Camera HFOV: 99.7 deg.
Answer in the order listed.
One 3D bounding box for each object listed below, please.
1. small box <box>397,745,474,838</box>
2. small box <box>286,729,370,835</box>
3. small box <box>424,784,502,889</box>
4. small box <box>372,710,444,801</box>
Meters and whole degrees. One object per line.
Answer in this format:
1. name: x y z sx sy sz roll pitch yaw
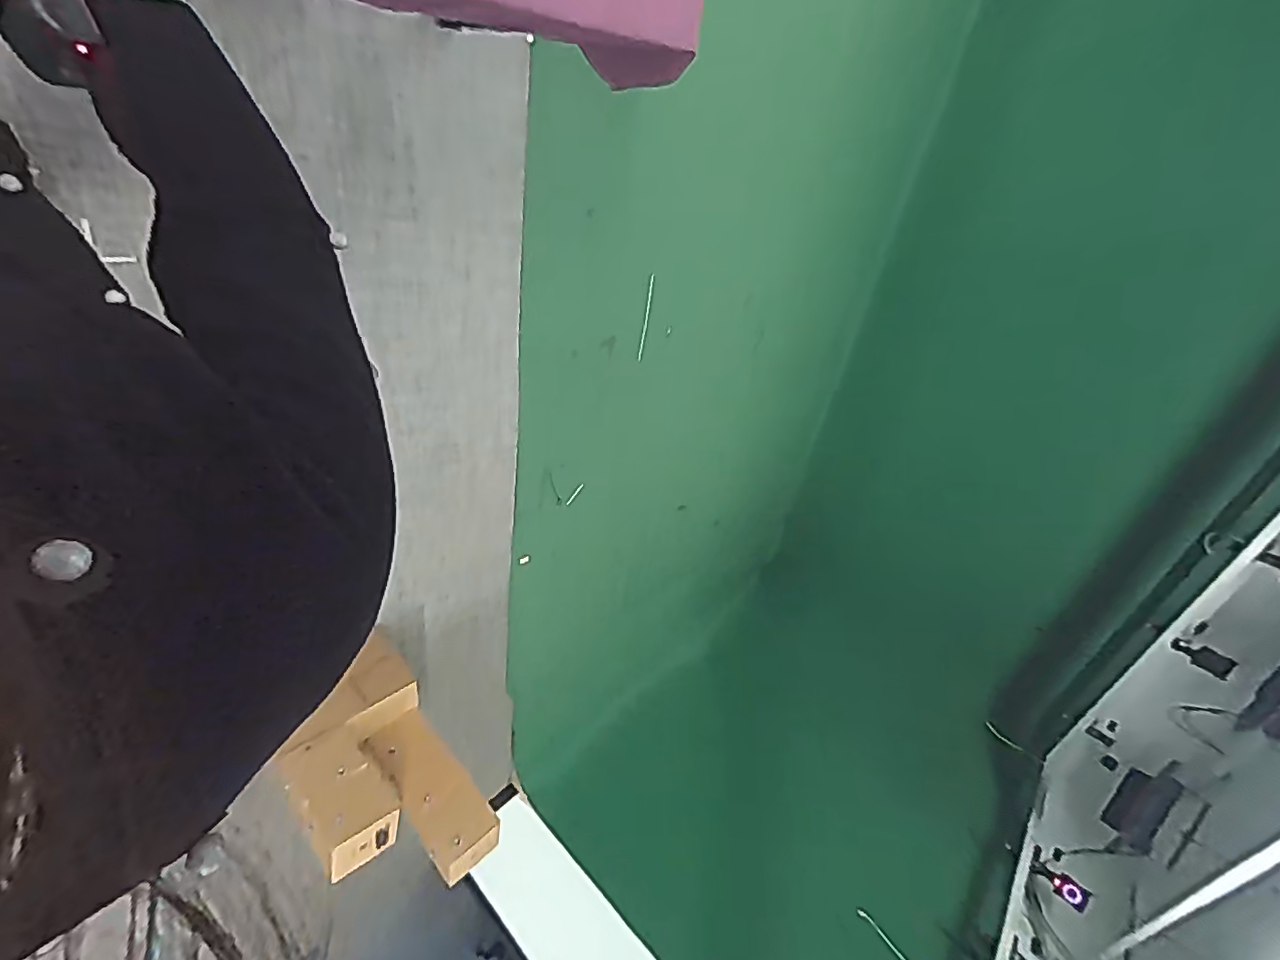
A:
1. small box: -0.661 1.002 1.749 0.179 0.176 0.168 -25 139 -41
2. small box: -0.914 0.879 1.588 0.168 0.176 0.179 -20 134 -45
3. small box: -0.549 1.089 1.664 0.179 0.176 0.168 -25 139 -43
4. small box: -0.782 0.924 1.823 0.179 0.176 0.168 -28 140 -41
